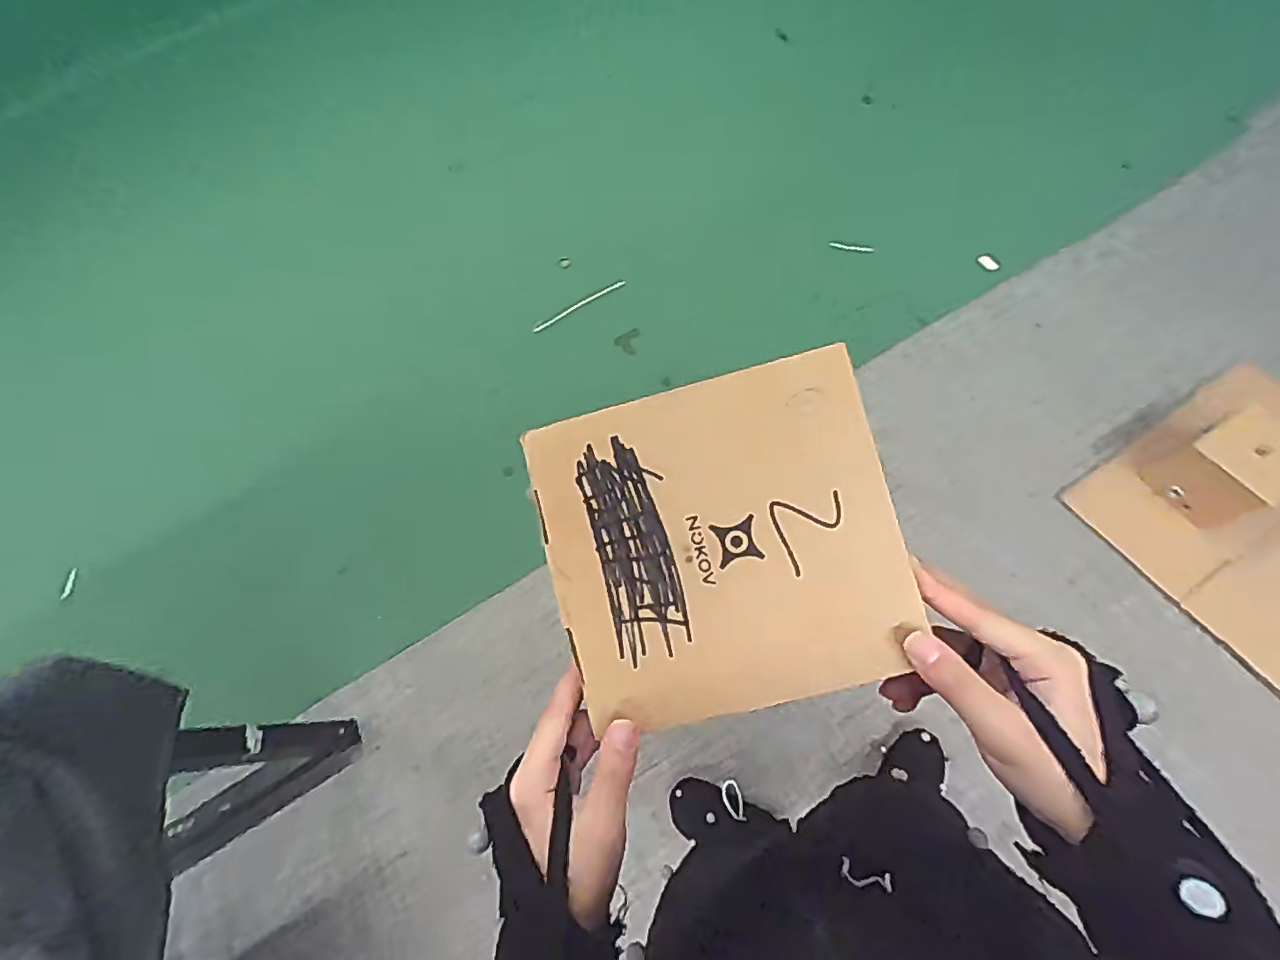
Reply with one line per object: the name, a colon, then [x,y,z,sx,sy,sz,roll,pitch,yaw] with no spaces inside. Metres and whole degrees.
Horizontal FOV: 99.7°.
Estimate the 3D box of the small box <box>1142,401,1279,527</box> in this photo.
small box: [1.241,-0.028,1.145,0.179,0.176,0.168,-34,66,-6]
